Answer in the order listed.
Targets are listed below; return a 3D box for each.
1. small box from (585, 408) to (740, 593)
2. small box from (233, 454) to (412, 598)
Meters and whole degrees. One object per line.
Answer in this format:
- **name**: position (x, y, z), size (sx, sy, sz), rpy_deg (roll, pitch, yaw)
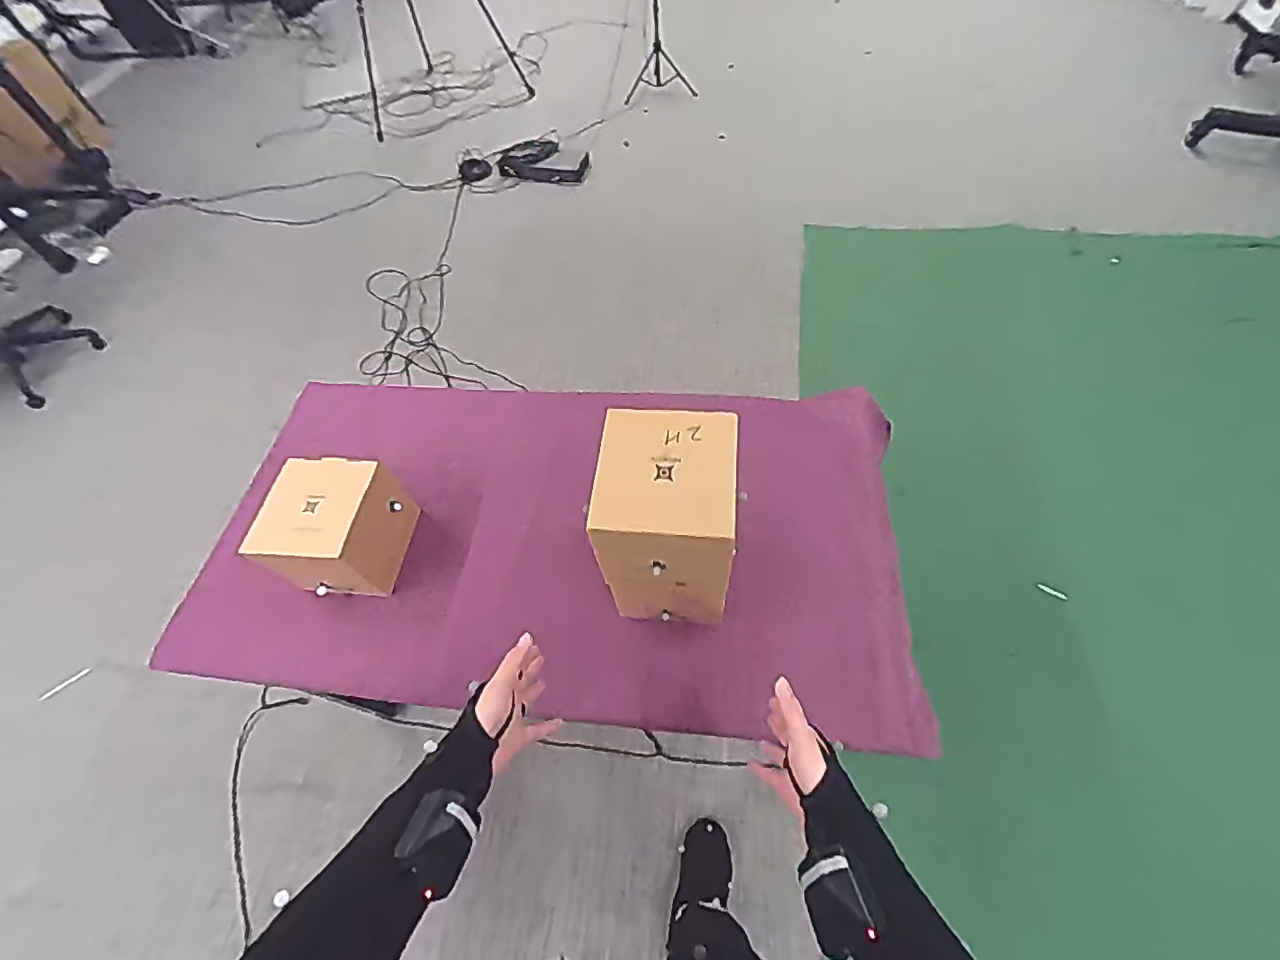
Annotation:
- **small box**: position (0.036, 0.031, 0.690), size (0.168, 0.176, 0.179), rpy_deg (4, 58, 7)
- **small box**: position (-0.508, 0.078, 0.900), size (0.168, 0.176, 0.179), rpy_deg (3, 58, 7)
